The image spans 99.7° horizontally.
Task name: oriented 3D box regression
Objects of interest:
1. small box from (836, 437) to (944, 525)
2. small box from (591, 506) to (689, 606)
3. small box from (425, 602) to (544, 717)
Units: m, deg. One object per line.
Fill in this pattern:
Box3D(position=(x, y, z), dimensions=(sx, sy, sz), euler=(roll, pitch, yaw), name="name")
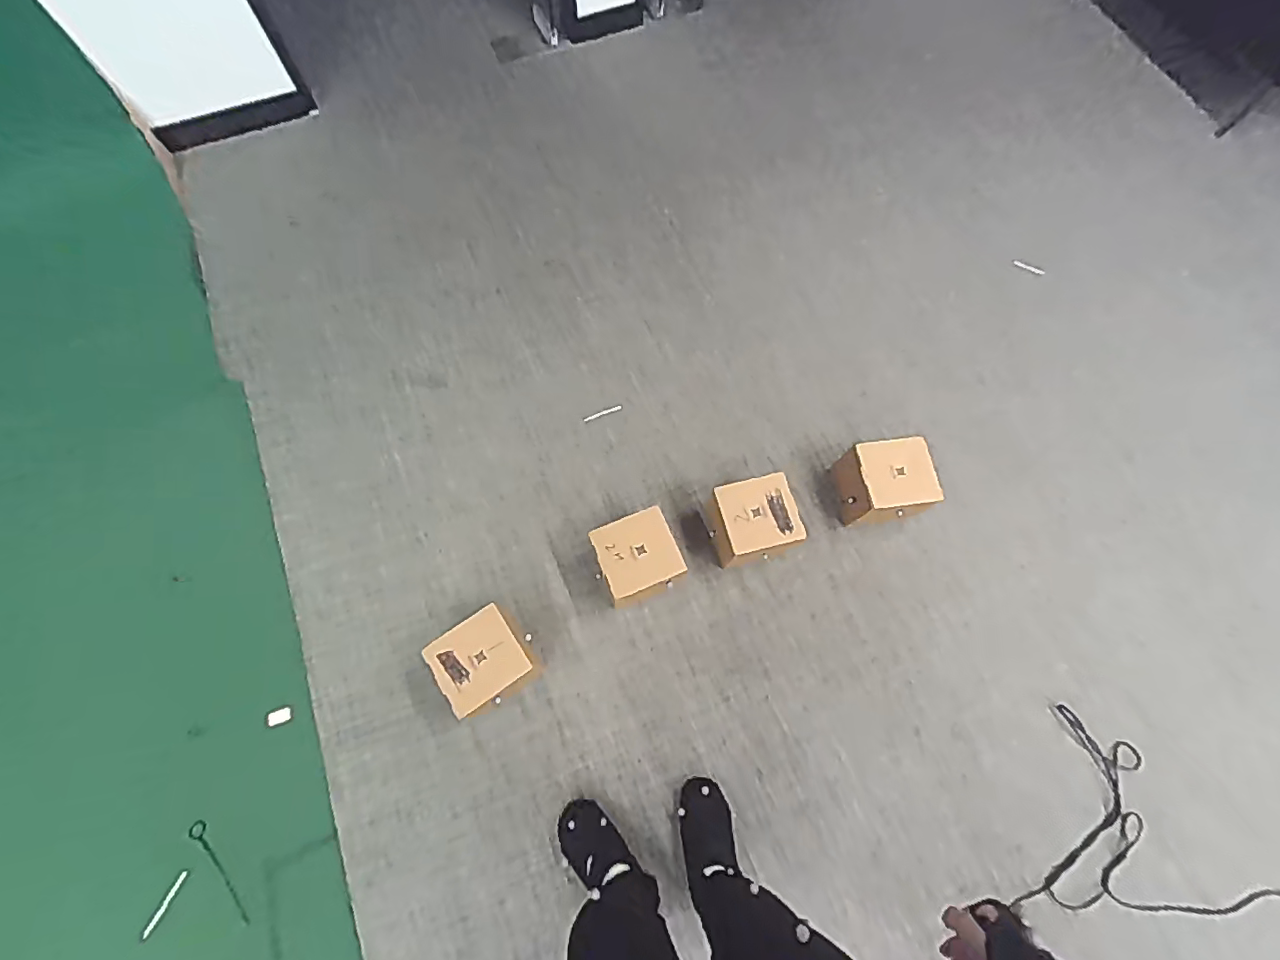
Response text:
Box3D(position=(0.607, 0.008, 1.345), dimensions=(0.179, 0.176, 0.168), euler=(-6, 71, -4), name="small box")
Box3D(position=(-0.004, 0.183, 1.268), dimensions=(0.179, 0.176, 0.168), euler=(-21, 72, -8), name="small box")
Box3D(position=(-0.332, 0.393, 1.188), dimensions=(0.179, 0.176, 0.168), euler=(-33, 75, -12), name="small box")
